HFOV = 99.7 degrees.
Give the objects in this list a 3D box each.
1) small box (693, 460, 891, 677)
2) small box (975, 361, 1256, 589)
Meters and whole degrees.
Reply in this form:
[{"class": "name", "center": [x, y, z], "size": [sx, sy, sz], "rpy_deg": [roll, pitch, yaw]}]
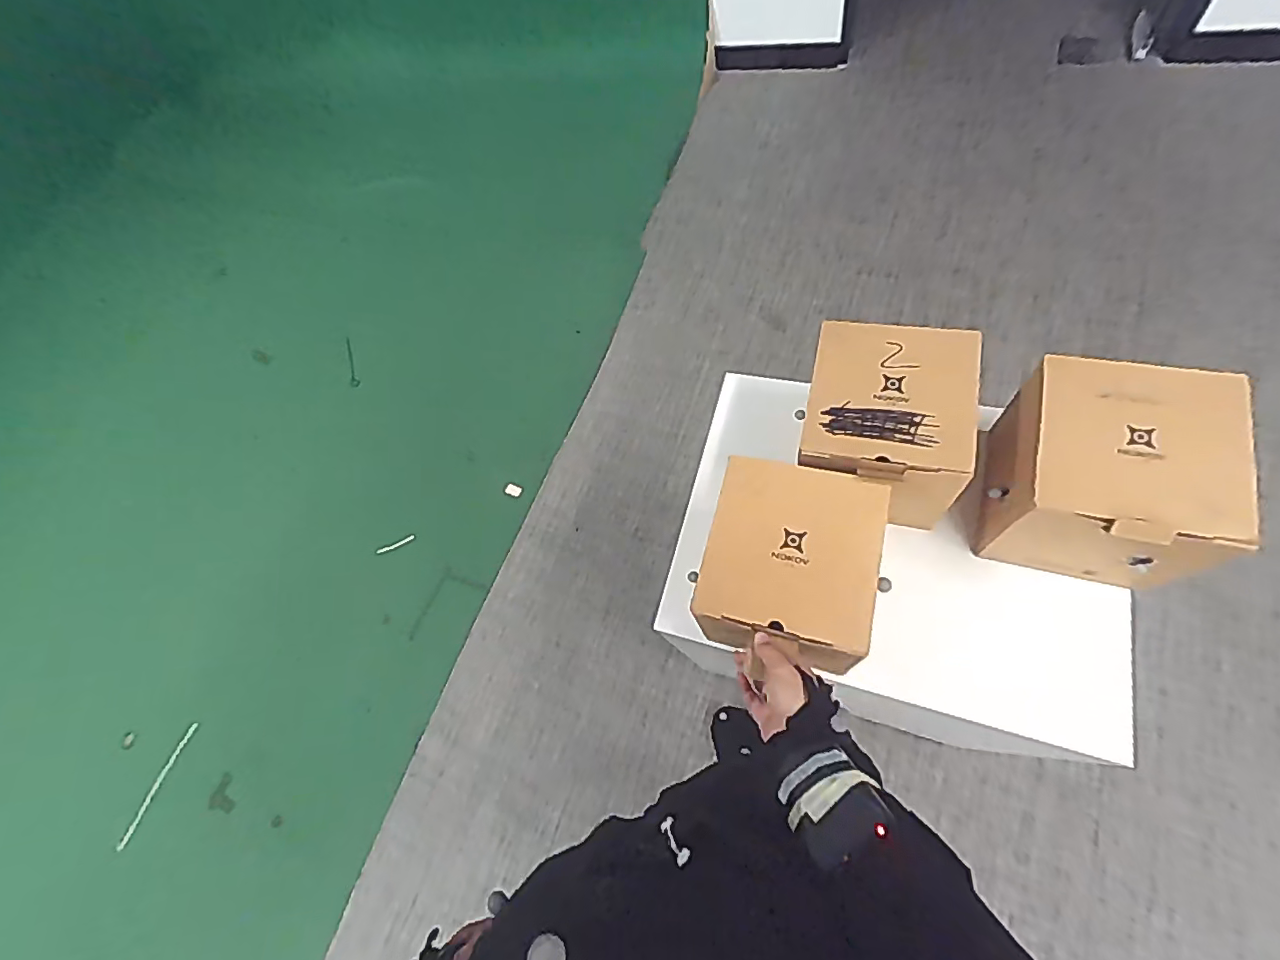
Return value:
[{"class": "small box", "center": [0.164, 0.103, 0.599], "size": [0.168, 0.176, 0.179], "rpy_deg": [11, 68, 17]}, {"class": "small box", "center": [0.476, 0.002, 0.572], "size": [0.168, 0.176, 0.179], "rpy_deg": [11, 69, 17]}]
